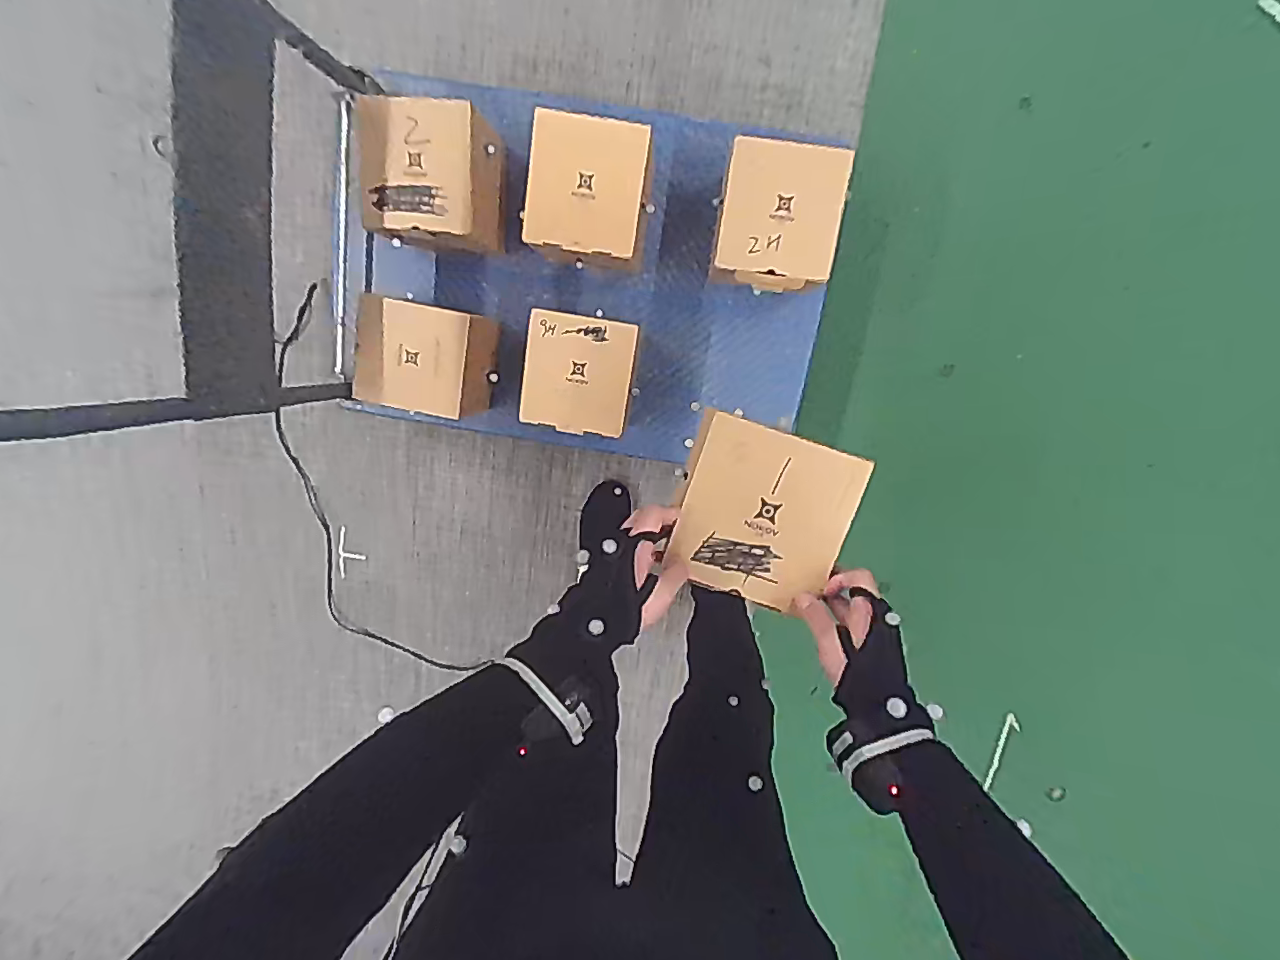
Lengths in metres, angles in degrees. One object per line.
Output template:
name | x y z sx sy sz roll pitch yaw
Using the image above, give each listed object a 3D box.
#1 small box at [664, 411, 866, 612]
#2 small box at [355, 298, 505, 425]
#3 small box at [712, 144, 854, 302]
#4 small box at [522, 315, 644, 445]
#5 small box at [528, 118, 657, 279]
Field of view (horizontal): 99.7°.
small box | 0.135 0.025 0.646 0.168 0.176 0.179 18 99 0
small box | -0.347 -0.198 0.916 0.179 0.176 0.168 12 104 -1
small box | 0.208 -0.386 0.841 0.168 0.176 0.179 9 103 2
small box | -0.088 -0.170 0.907 0.168 0.176 0.179 10 103 0
small box | -0.068 -0.428 0.850 0.168 0.176 0.179 10 105 0
